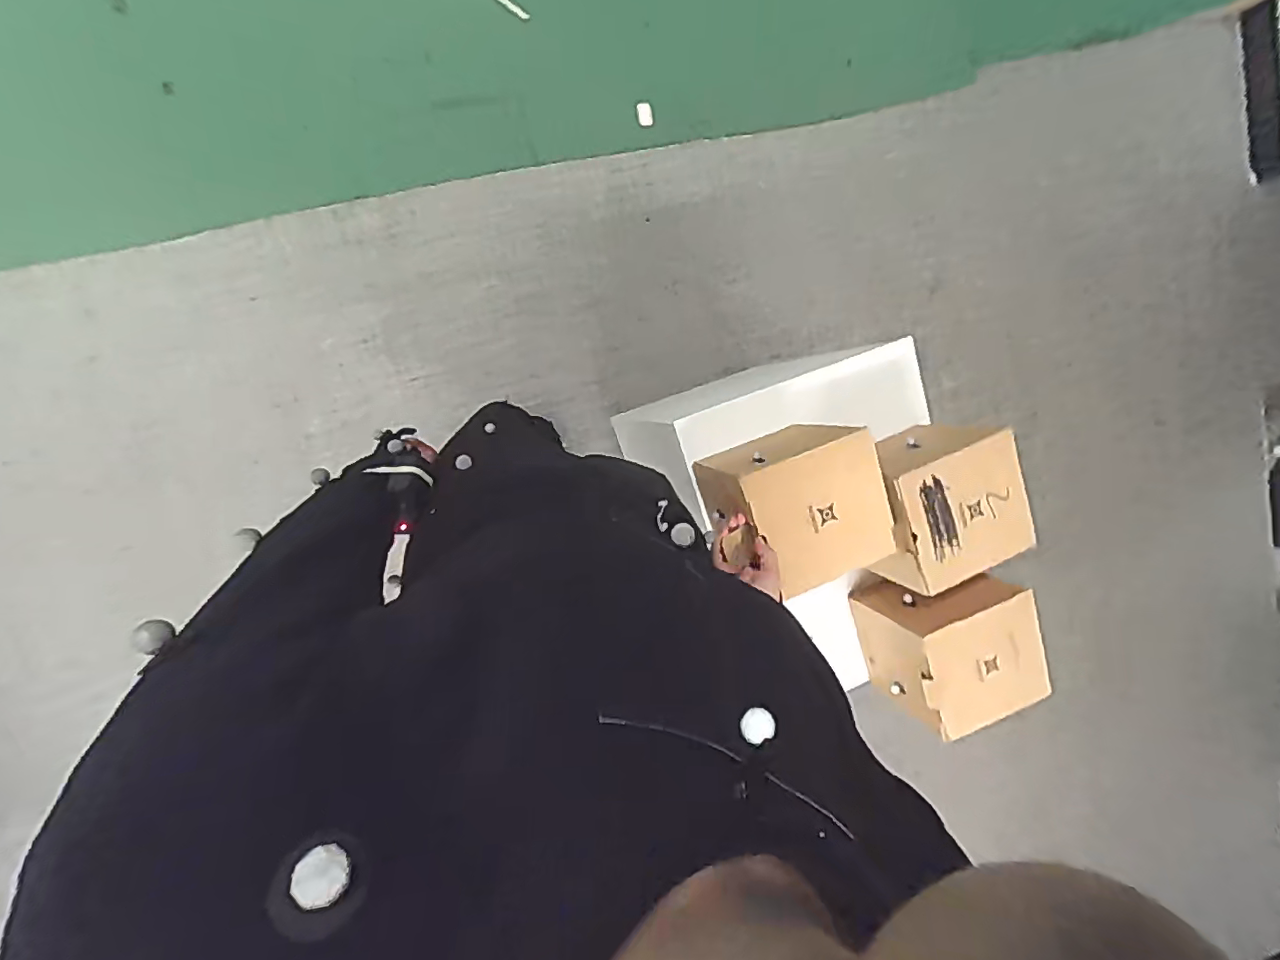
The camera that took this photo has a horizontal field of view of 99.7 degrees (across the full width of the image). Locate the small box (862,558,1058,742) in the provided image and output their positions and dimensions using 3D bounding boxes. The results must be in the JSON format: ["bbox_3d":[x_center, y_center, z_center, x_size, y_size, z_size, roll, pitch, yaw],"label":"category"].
[{"bbox_3d":[0.452,0.235,0.792,0.179,0.176,0.168,-21,102,-9],"label":"small box"}]
